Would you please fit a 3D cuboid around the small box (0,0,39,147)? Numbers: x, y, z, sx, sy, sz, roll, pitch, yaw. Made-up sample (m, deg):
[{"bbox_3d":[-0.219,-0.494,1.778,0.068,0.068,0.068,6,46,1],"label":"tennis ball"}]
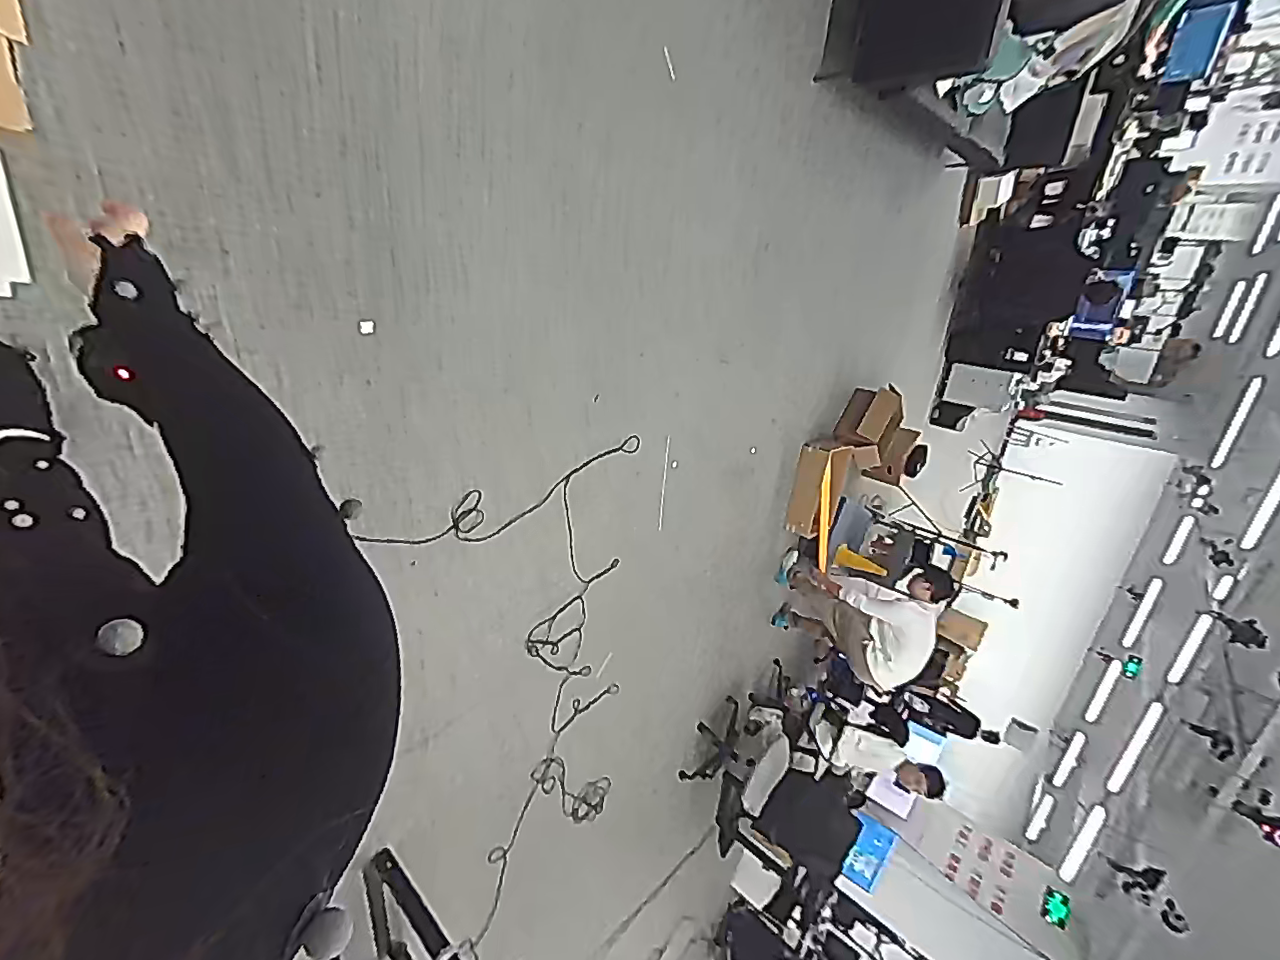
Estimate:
[{"bbox_3d":[-0.564,-0.345,0.372,0.179,0.176,0.168,-14,117,-45],"label":"small box"}]
